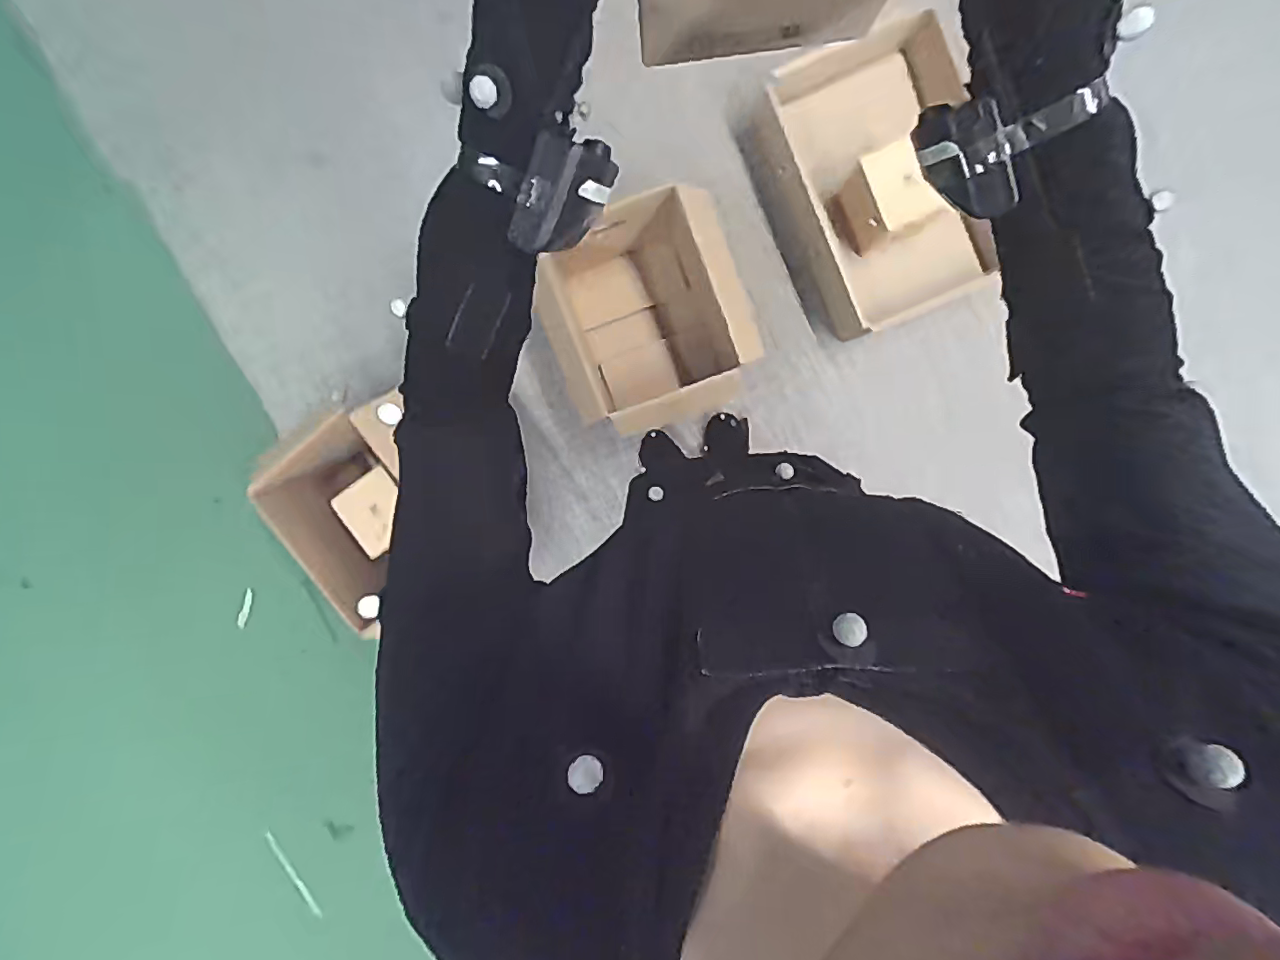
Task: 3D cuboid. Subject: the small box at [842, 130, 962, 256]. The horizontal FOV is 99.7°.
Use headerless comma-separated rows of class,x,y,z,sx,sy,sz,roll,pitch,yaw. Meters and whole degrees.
small box,0.600,-0.659,1.262,0.168,0.176,0.179,-24,93,4
